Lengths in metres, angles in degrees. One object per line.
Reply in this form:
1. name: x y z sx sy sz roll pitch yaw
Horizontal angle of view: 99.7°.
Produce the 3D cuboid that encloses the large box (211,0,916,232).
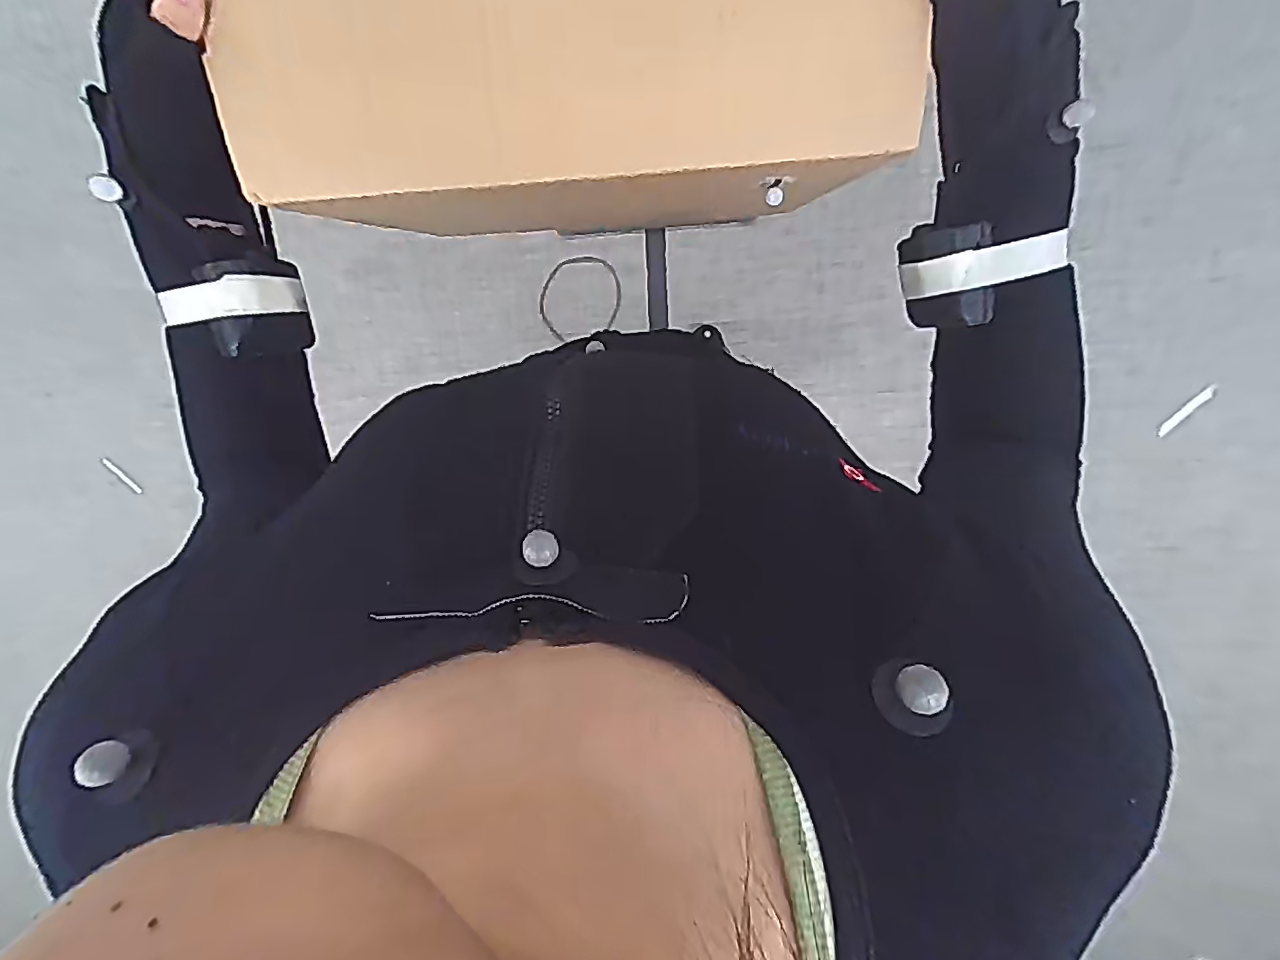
1. large box: -0.043 -0.384 0.421 0.408 0.320 0.320 -3 110 3
